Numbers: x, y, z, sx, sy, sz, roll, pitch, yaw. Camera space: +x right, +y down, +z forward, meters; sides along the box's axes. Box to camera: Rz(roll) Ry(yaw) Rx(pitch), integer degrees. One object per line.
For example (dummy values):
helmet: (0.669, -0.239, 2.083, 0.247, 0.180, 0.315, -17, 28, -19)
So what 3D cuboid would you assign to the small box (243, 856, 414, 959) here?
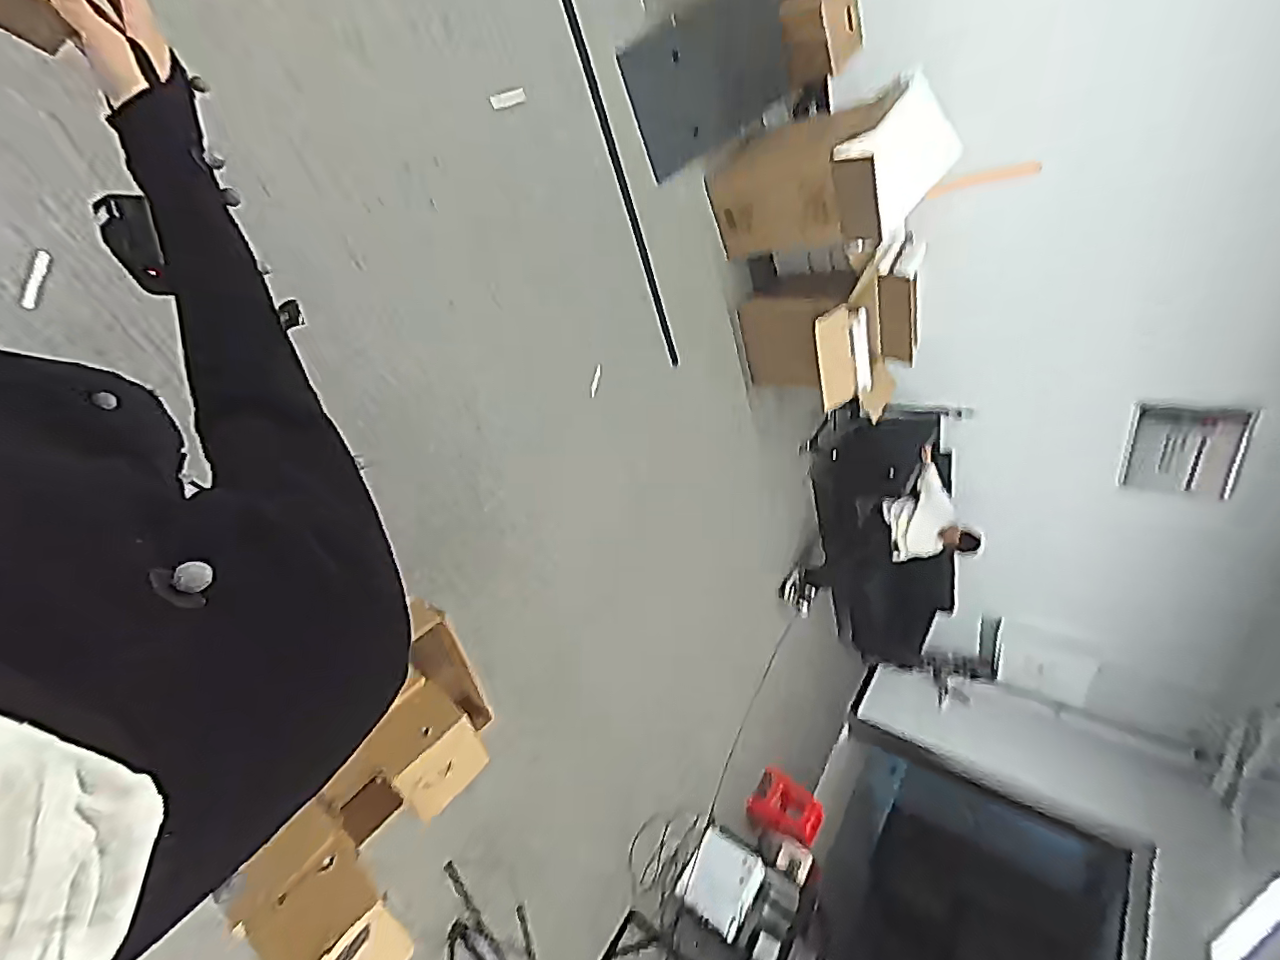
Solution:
small box: (-0.521, 0.783, 0.908, 0.168, 0.176, 0.179, -35, 126, -39)

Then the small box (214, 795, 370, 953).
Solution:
small box: (-0.649, 0.741, 1.005, 0.179, 0.176, 0.168, -39, 128, -36)

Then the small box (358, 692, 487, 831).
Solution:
small box: (-0.472, 0.602, 1.180, 0.179, 0.176, 0.168, -36, 126, -37)

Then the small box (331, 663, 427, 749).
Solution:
small box: (-0.595, 0.563, 1.284, 0.168, 0.176, 0.179, -38, 128, -36)
